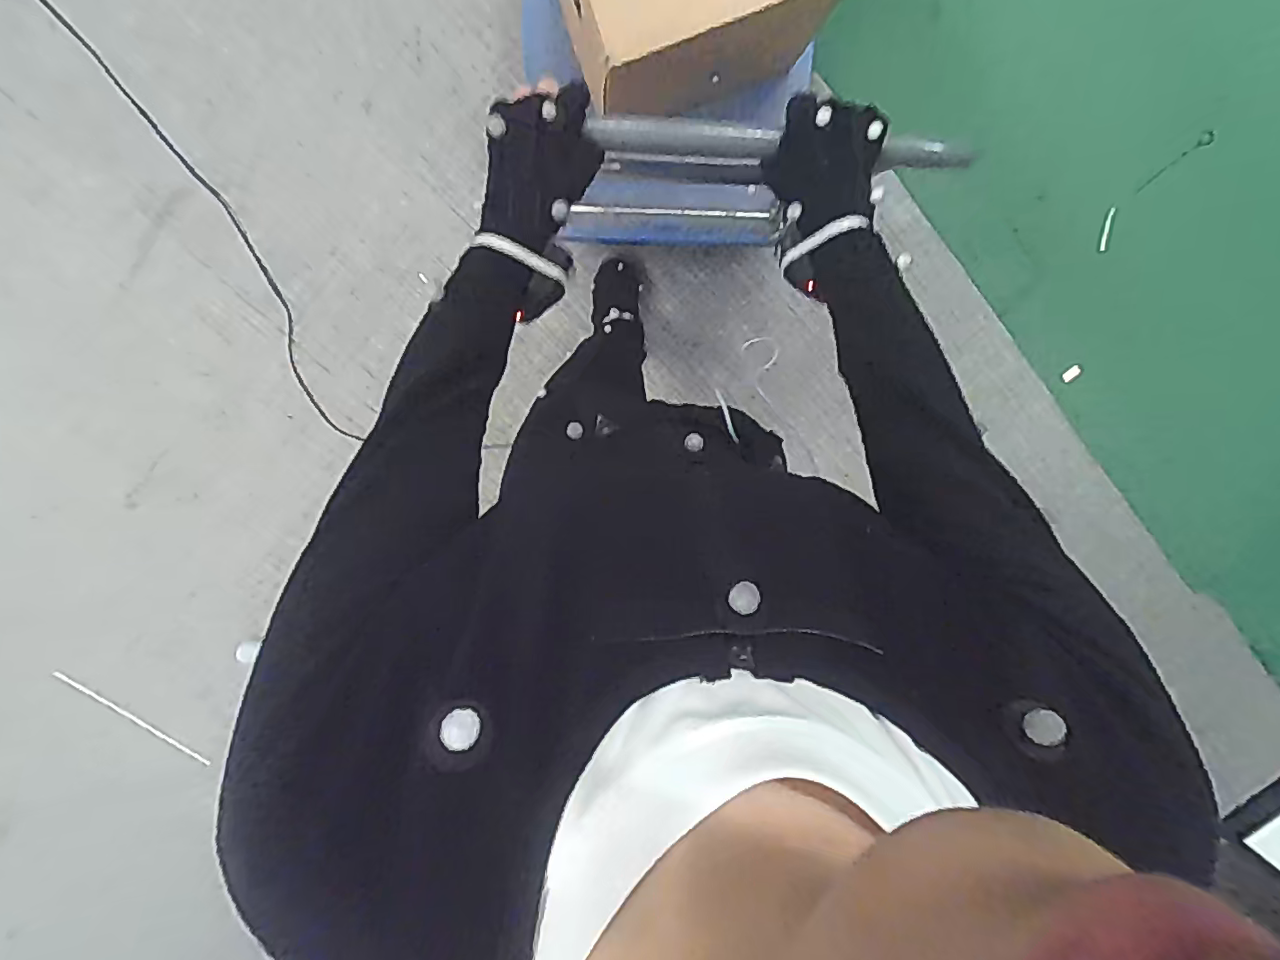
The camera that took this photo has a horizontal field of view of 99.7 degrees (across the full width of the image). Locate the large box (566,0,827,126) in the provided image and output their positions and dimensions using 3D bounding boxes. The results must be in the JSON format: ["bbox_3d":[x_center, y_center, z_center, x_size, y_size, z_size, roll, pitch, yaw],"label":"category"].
[{"bbox_3d":[0.078,-0.874,0.903,0.408,0.320,0.320,-20,105,2],"label":"large box"}]
